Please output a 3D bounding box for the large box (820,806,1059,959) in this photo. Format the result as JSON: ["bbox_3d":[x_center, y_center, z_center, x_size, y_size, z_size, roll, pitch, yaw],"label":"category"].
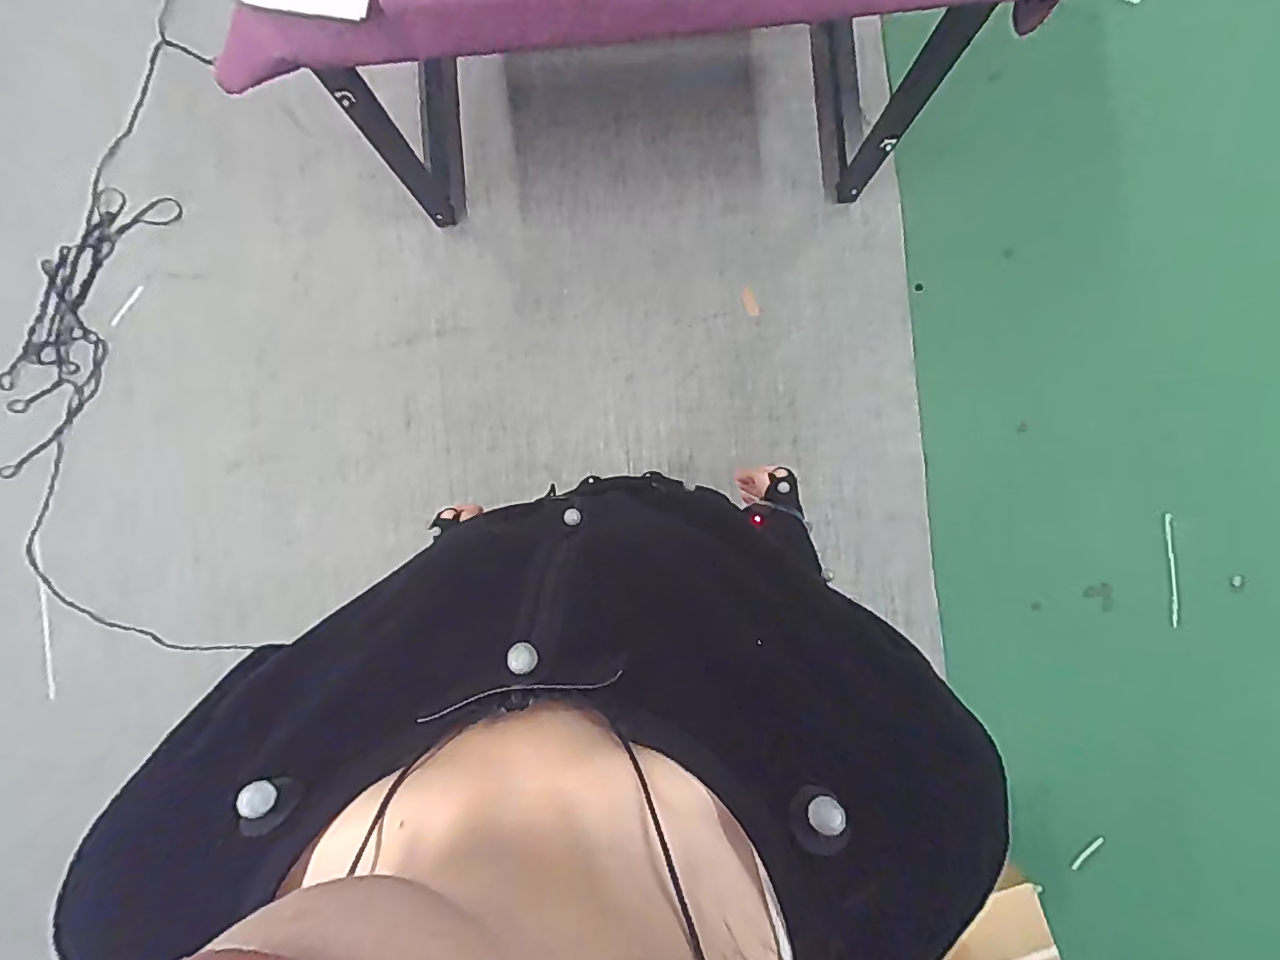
[{"bbox_3d":[0.730,1.102,1.347,0.408,0.320,0.320,-19,90,-1],"label":"large box"}]

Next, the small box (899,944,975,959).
[{"bbox_3d":[0.642,1.108,1.102,0.179,0.176,0.168,-14,89,1],"label":"small box"}]
